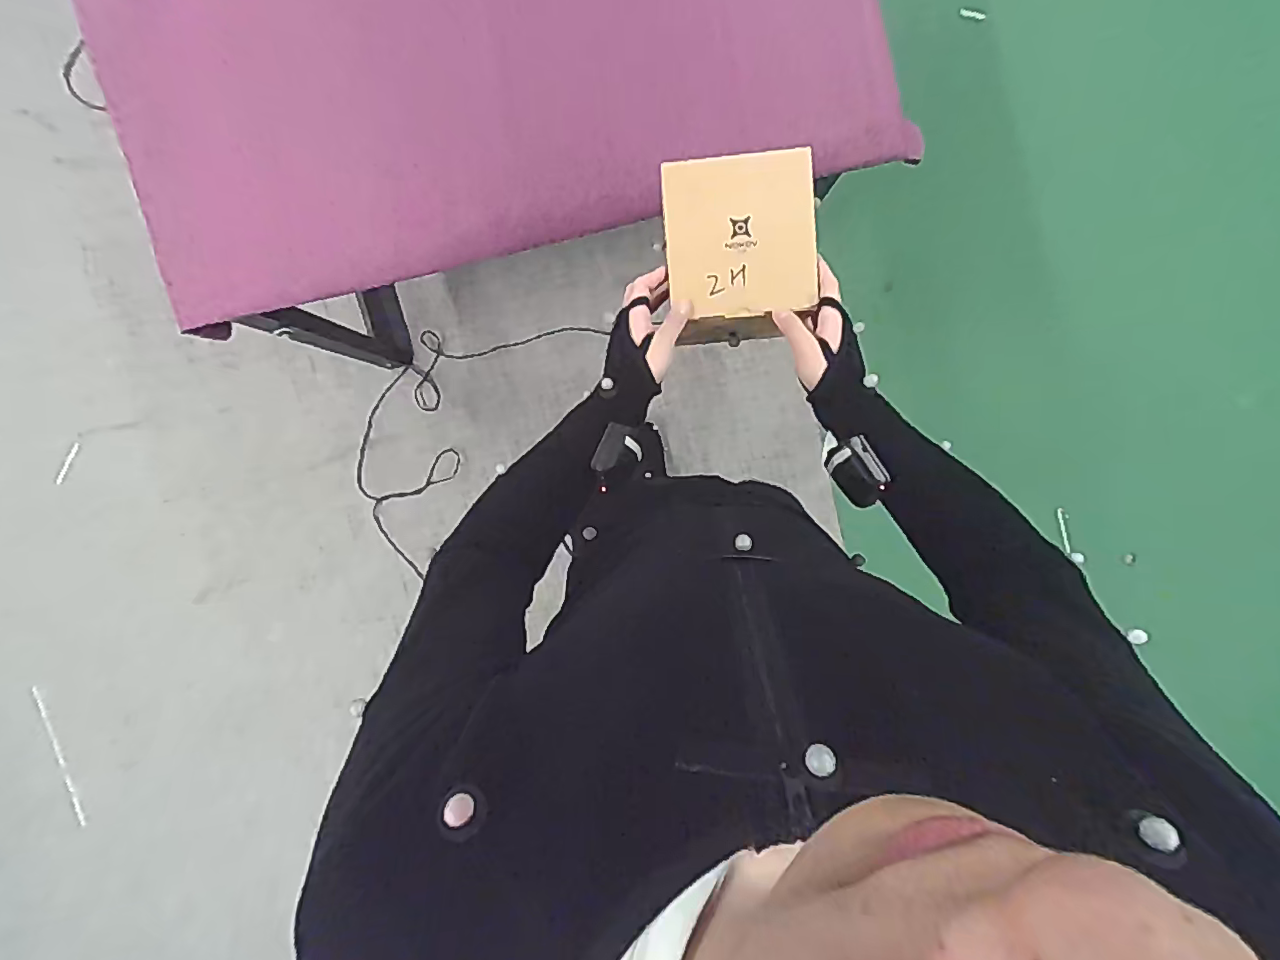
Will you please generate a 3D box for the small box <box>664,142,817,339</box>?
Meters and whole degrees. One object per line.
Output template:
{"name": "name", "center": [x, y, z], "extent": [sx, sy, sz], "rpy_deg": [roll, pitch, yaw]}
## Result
{"name": "small box", "center": [0.116, -0.283, 0.677], "extent": [0.168, 0.176, 0.179], "rpy_deg": [-3, 95, 5]}
